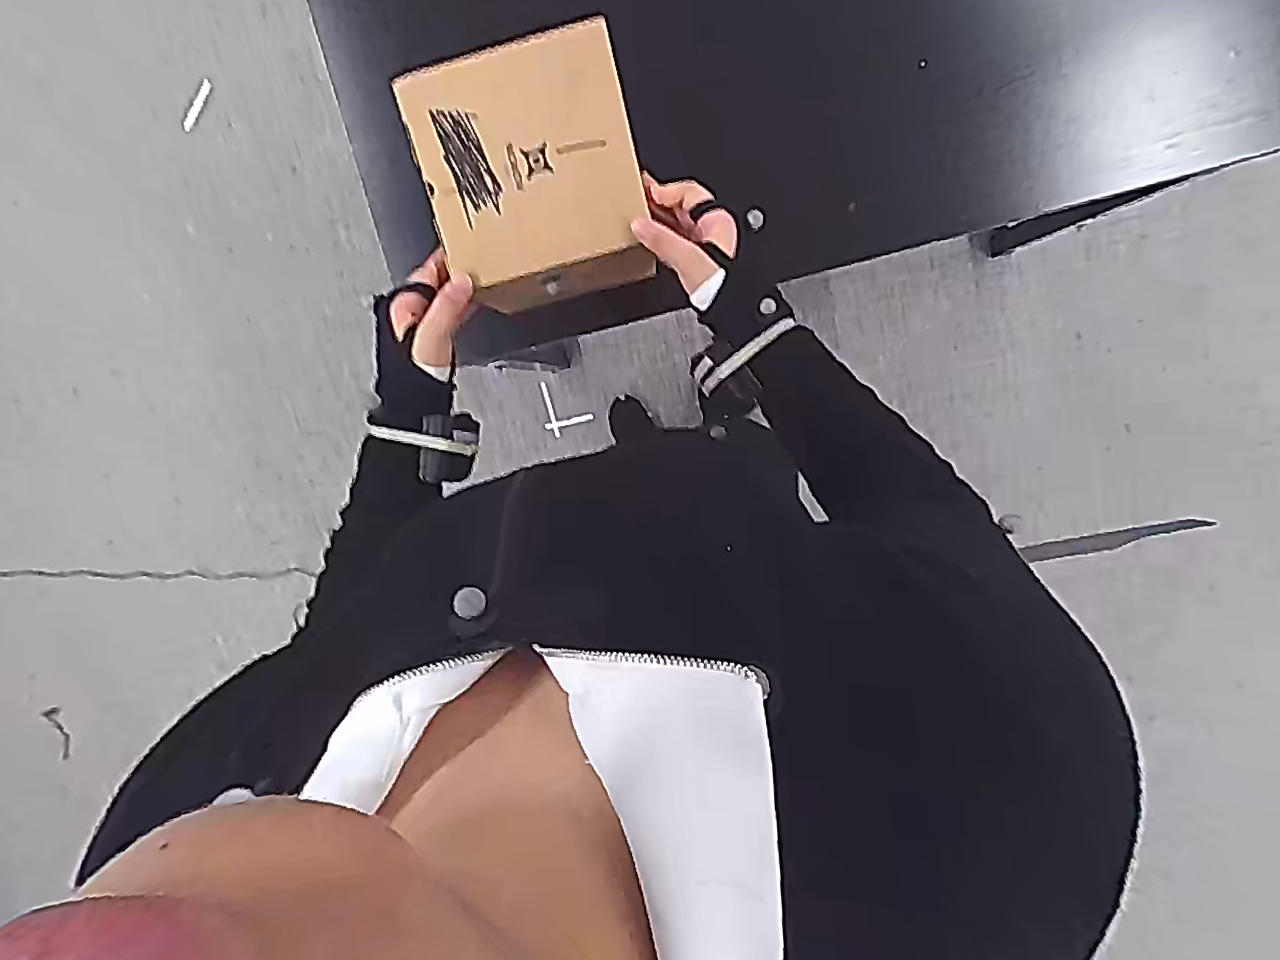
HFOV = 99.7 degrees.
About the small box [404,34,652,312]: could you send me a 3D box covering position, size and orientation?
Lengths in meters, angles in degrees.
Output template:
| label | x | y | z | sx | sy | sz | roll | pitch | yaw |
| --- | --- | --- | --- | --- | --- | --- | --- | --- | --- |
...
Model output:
| label | x | y | z | sx | sy | sz | roll | pitch | yaw |
| --- | --- | --- | --- | --- | --- | --- | --- | --- | --- |
| small box | -0.089 | -0.270 | 0.524 | 0.179 | 0.176 | 0.168 | -13 | 101 | 3 |
